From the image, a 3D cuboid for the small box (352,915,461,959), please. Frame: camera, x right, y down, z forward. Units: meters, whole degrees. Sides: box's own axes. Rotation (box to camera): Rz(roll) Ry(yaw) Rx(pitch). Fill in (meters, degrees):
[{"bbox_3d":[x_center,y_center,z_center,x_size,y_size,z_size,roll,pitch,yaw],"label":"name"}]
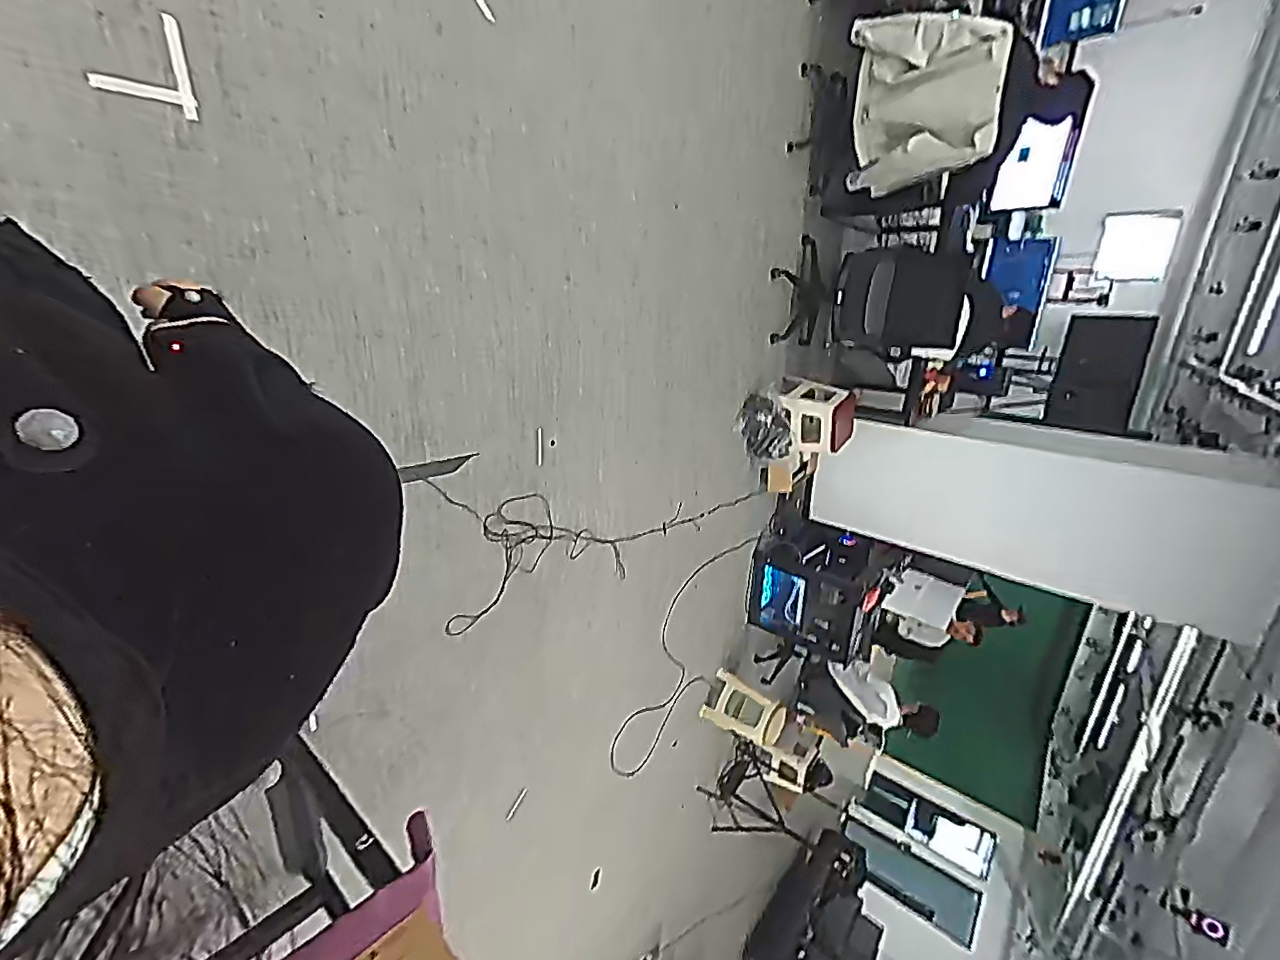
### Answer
[{"bbox_3d":[-0.436,0.955,0.989,0.168,0.176,0.179,-16,116,-48],"label":"small box"}]
